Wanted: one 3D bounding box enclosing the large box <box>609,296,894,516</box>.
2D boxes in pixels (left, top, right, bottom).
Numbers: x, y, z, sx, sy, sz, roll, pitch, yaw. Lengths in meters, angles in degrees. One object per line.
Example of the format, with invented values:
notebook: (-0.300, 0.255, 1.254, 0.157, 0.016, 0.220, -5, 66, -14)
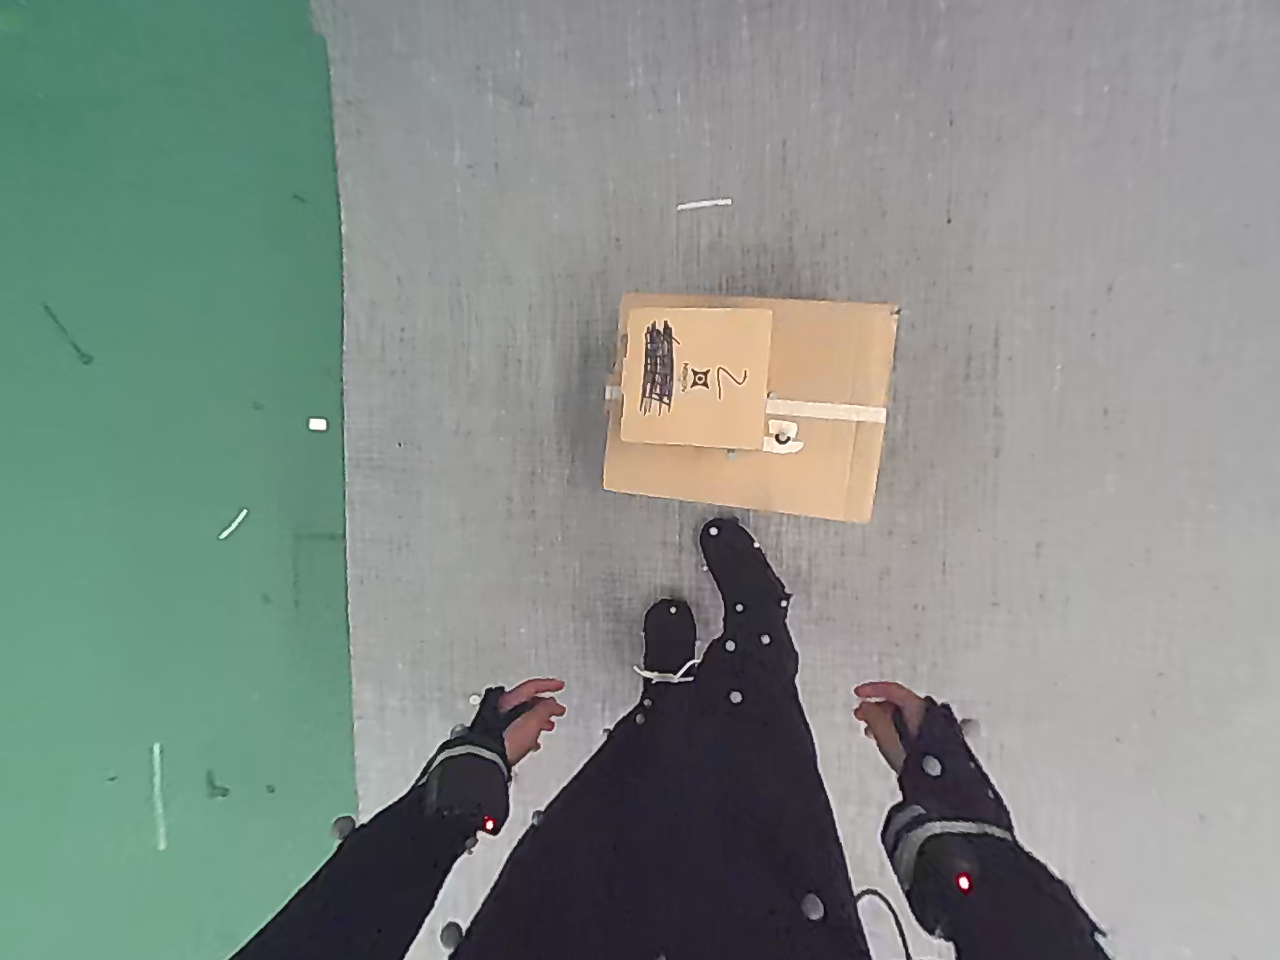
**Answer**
large box: (0.182, -0.122, 0.951, 0.408, 0.320, 0.320, 6, 95, 12)
